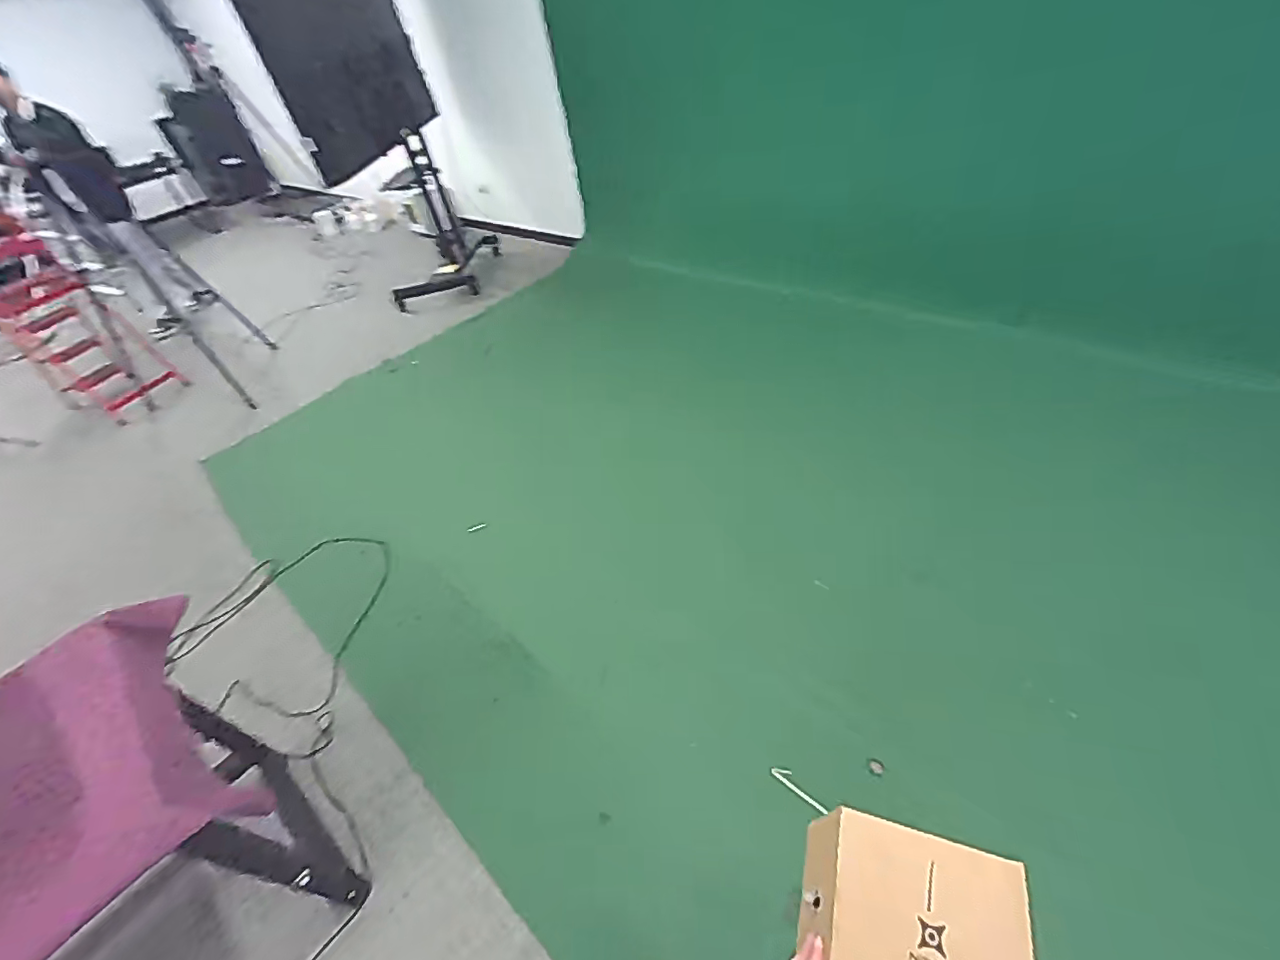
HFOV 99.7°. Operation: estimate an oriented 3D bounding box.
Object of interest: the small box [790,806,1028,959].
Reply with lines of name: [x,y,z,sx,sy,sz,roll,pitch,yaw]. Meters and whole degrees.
small box: [0.248,0.450,0.527,0.168,0.176,0.179,12,54,11]
